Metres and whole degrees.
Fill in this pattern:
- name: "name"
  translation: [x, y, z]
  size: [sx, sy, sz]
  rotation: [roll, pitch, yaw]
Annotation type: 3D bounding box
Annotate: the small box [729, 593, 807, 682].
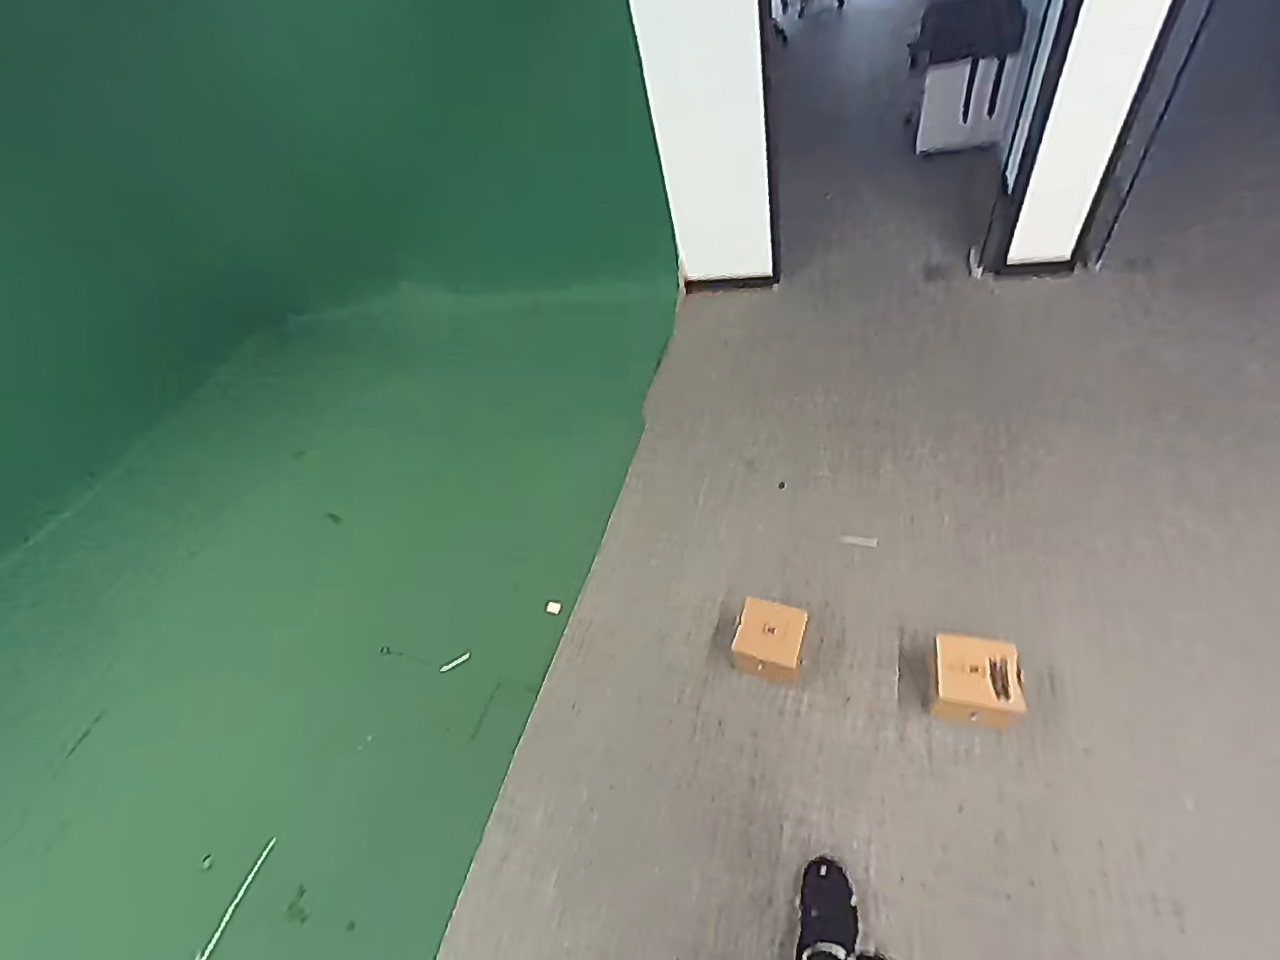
- name: "small box"
  translation: [0.367, 0.450, 1.535]
  size: [0.179, 0.176, 0.168]
  rotation: [12, 57, 24]
